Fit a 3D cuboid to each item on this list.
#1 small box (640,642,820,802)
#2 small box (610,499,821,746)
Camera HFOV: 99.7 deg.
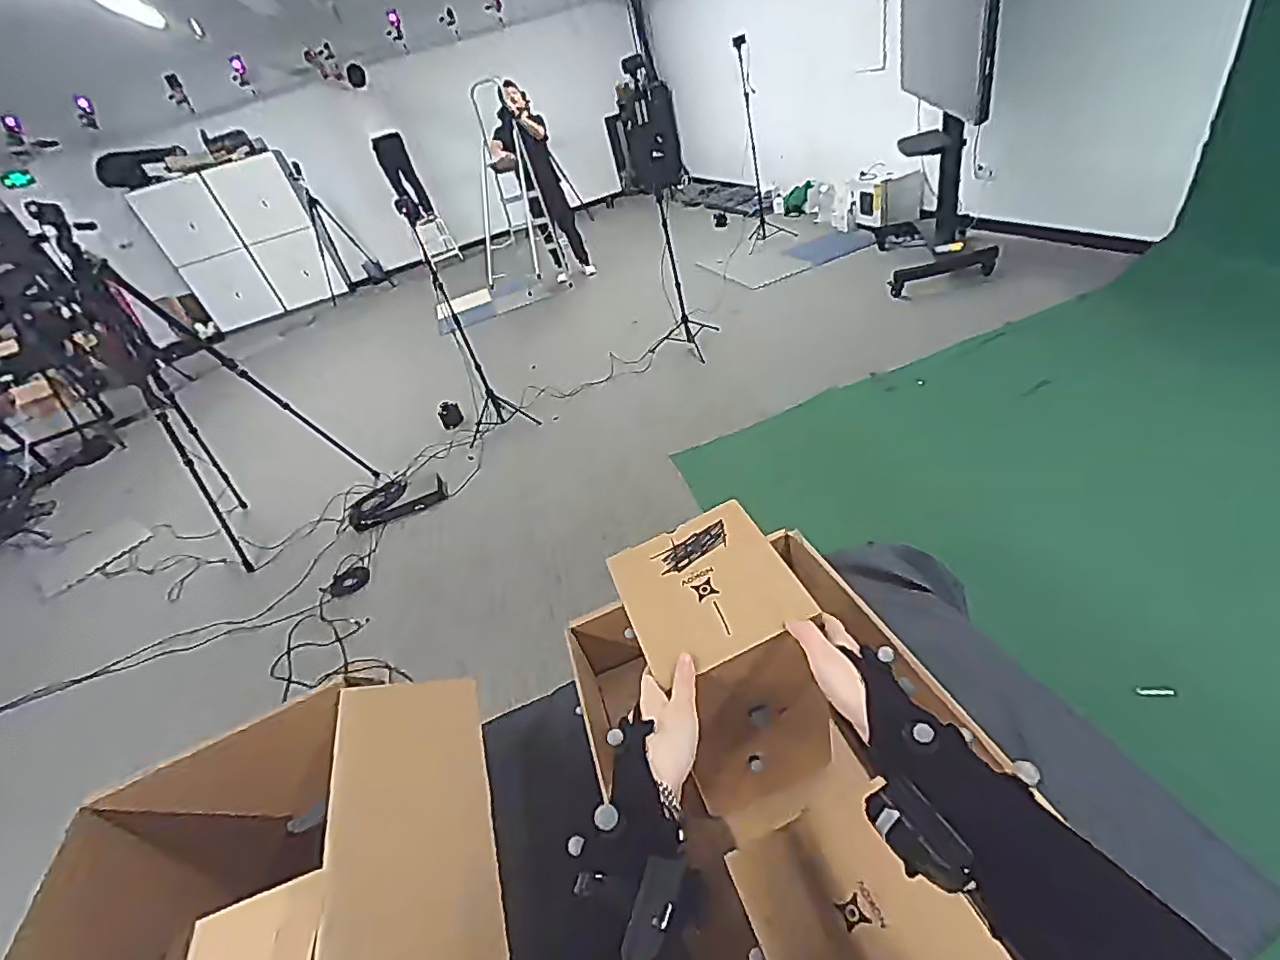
[{"bbox_3d":[0.122,0.289,0.718,0.179,0.176,0.168,-22,39,-6],"label":"small box"},{"bbox_3d":[0.084,0.159,0.607,0.168,0.176,0.179,-24,43,-4],"label":"small box"}]
